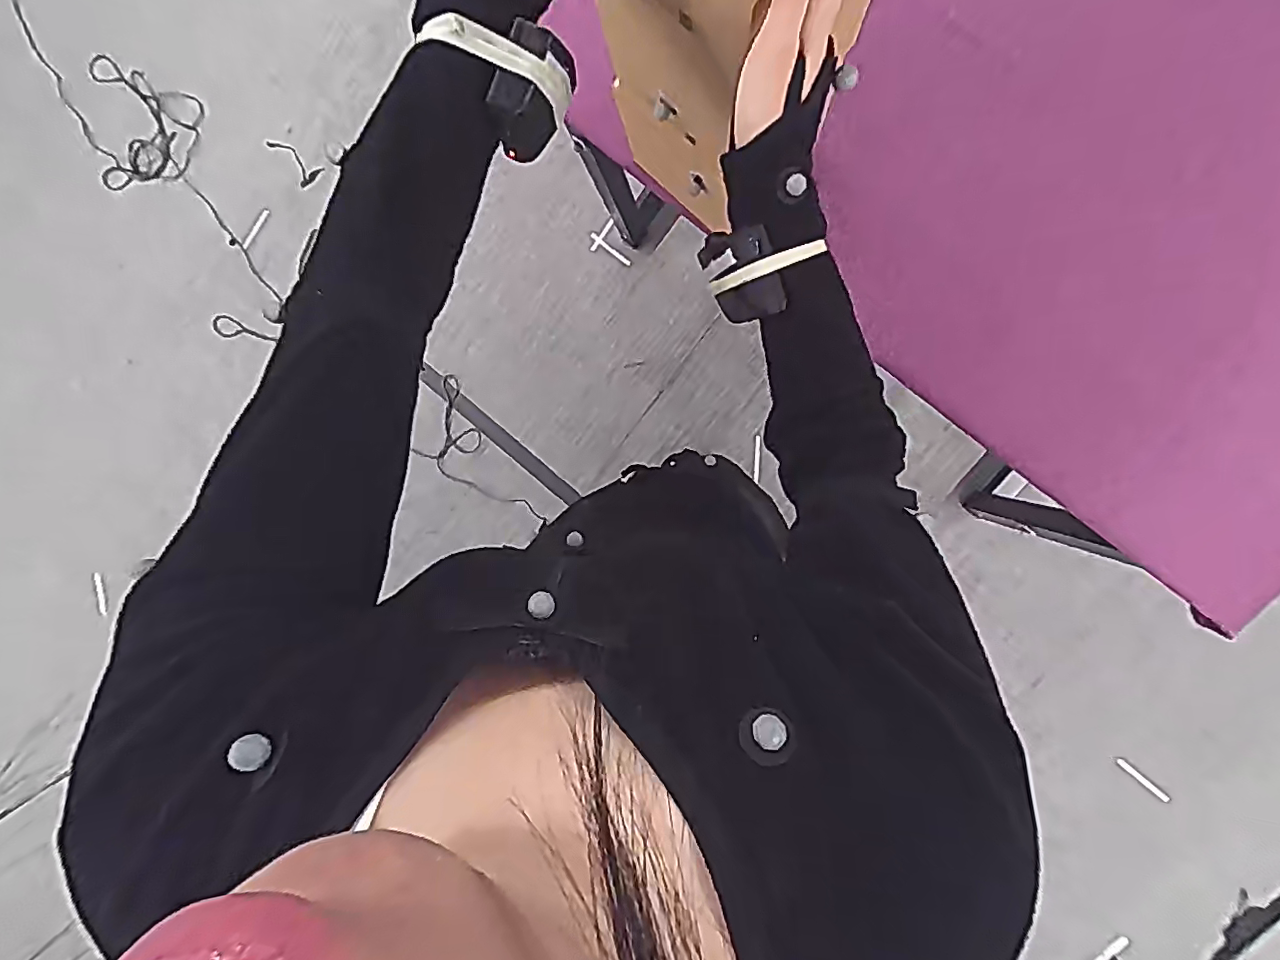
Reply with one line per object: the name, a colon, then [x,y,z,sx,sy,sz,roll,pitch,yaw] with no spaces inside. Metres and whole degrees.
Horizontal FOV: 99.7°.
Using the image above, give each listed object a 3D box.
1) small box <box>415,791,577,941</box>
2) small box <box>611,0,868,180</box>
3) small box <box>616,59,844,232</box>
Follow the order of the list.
small box: [-0.232,0.685,0.916,0.168,0.176,0.179,40,100,4]
small box: [0.086,-0.413,0.469,0.168,0.176,0.179,43,100,2]
small box: [0.101,-0.422,0.633,0.179,0.176,0.168,44,99,3]
